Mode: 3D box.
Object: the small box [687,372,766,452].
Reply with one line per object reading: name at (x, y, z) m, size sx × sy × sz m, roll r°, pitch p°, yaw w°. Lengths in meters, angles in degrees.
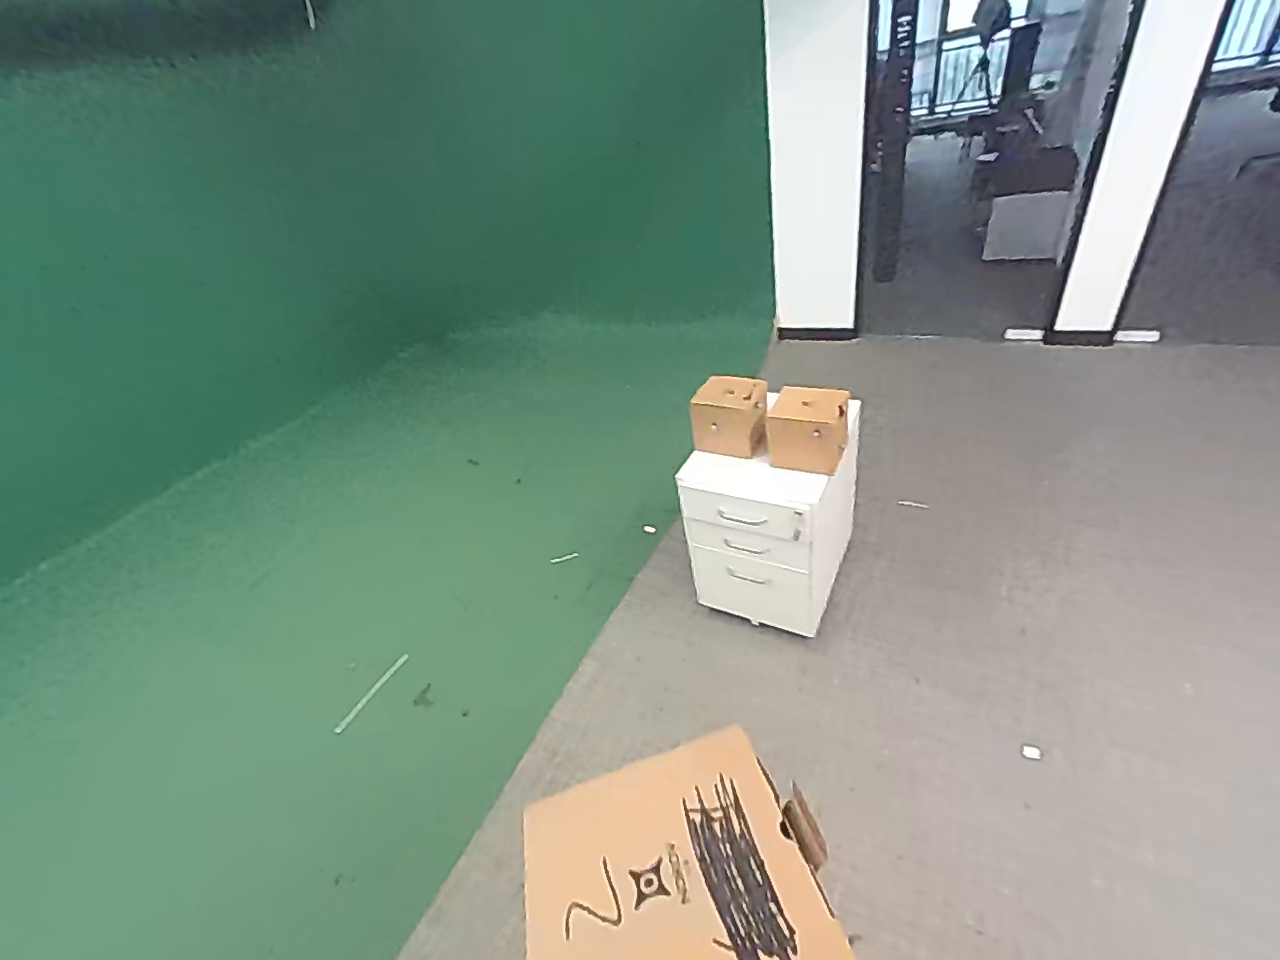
small box at (0.257, -0.198, 1.575) m, size 0.179 × 0.176 × 0.168 m, roll 11°, pitch 44°, yaw 28°
